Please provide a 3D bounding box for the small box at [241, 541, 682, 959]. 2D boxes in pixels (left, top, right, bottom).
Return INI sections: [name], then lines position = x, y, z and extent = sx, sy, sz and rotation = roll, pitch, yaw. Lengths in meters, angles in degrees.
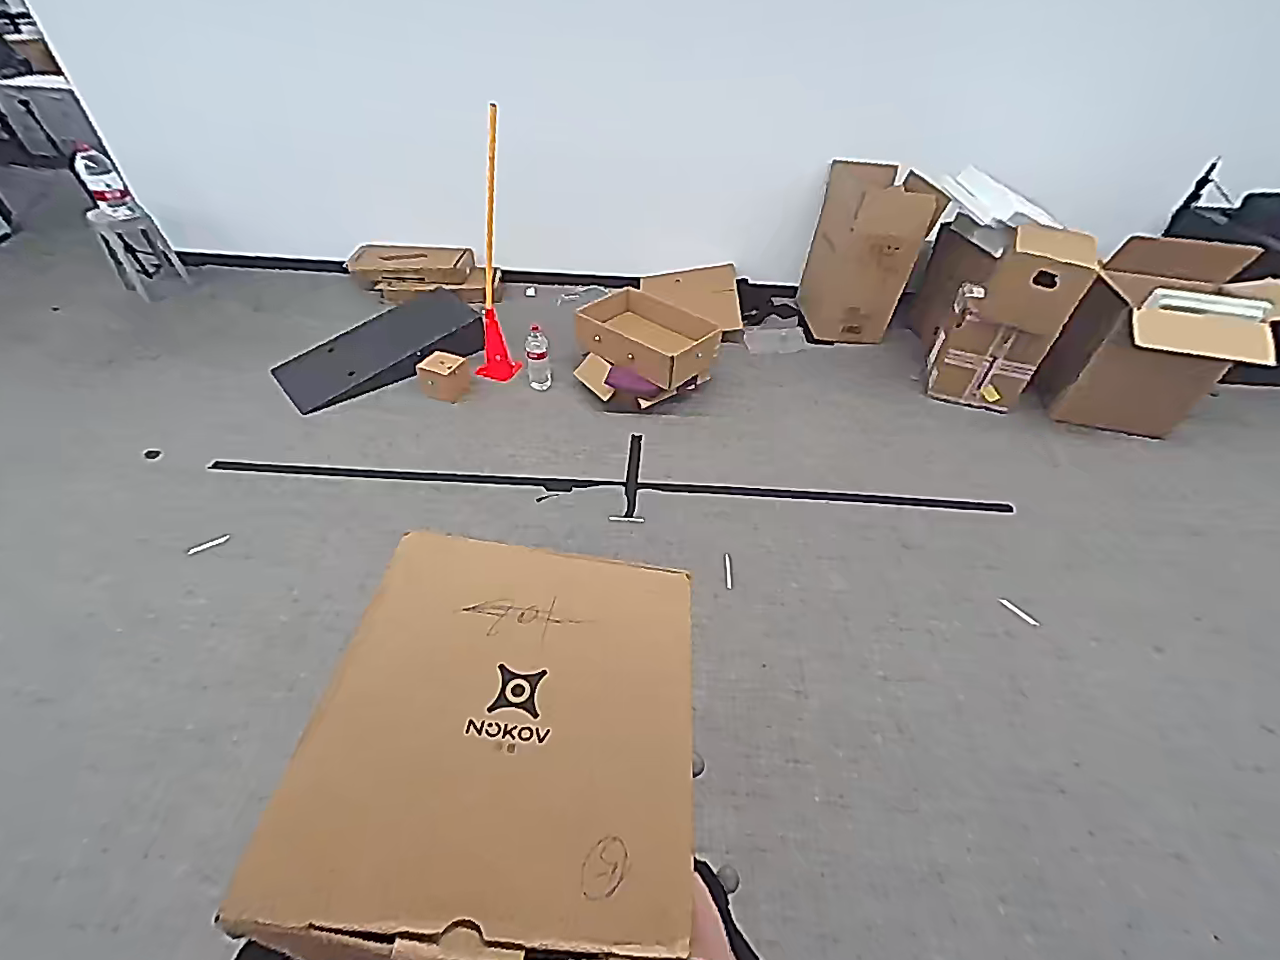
[small box]
position = -0.073, 0.164, 0.314
extent = 0.168, 0.176, 0.179
rotation = 9, 42, -5
